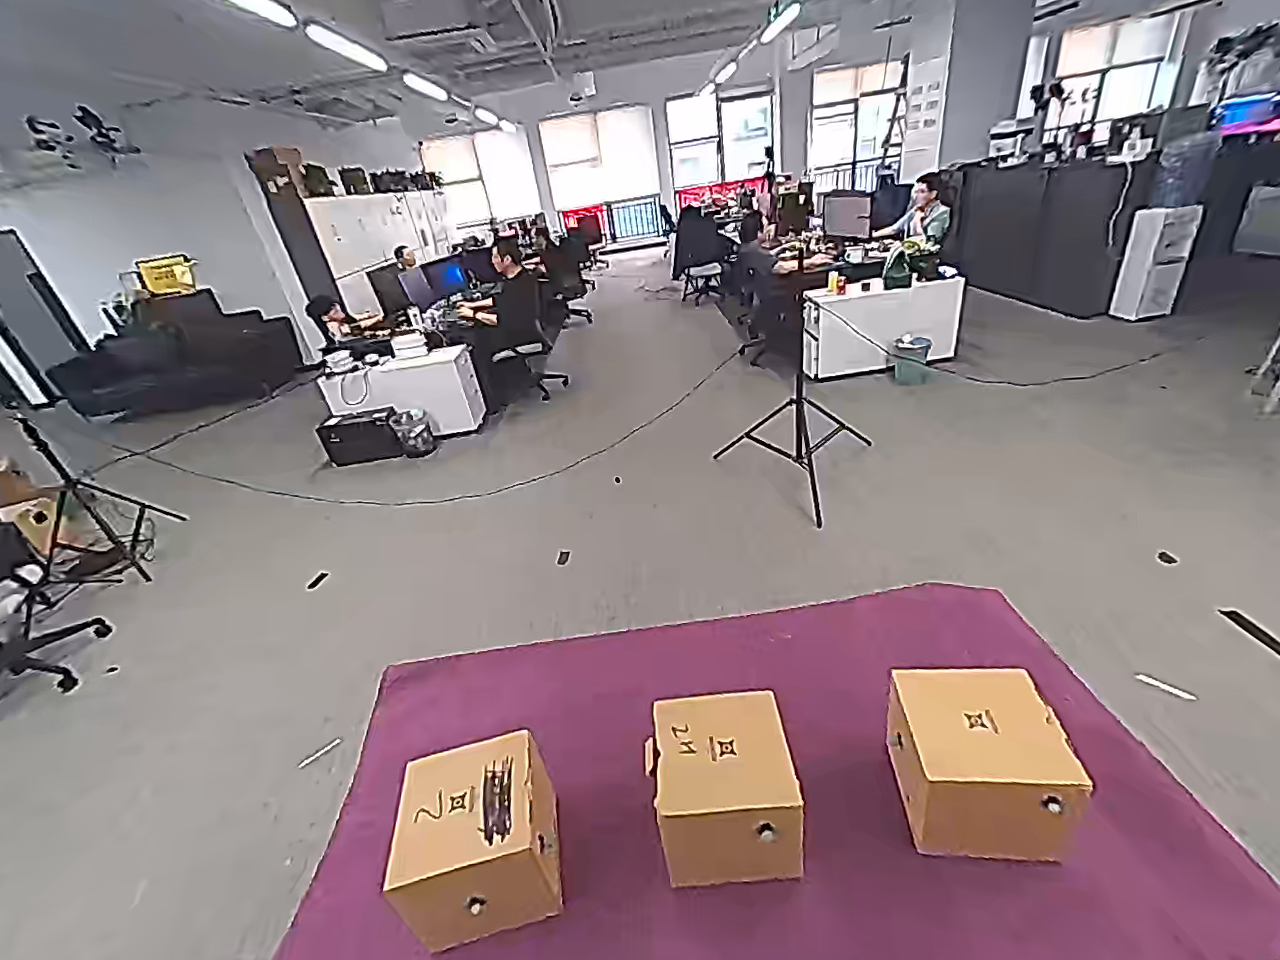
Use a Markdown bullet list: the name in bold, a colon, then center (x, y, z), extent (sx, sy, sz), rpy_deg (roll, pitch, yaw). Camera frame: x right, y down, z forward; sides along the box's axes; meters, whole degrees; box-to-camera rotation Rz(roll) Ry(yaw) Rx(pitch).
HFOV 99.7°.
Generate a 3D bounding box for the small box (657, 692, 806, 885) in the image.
- **small box**: center (0.121, 0.423, 0.746), extent (0.179, 0.176, 0.168), rpy_deg (-8, 28, 4)

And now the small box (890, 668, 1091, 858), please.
- **small box**: center (0.447, 0.376, 0.727), extent (0.179, 0.176, 0.168), rpy_deg (-4, 29, 11)
